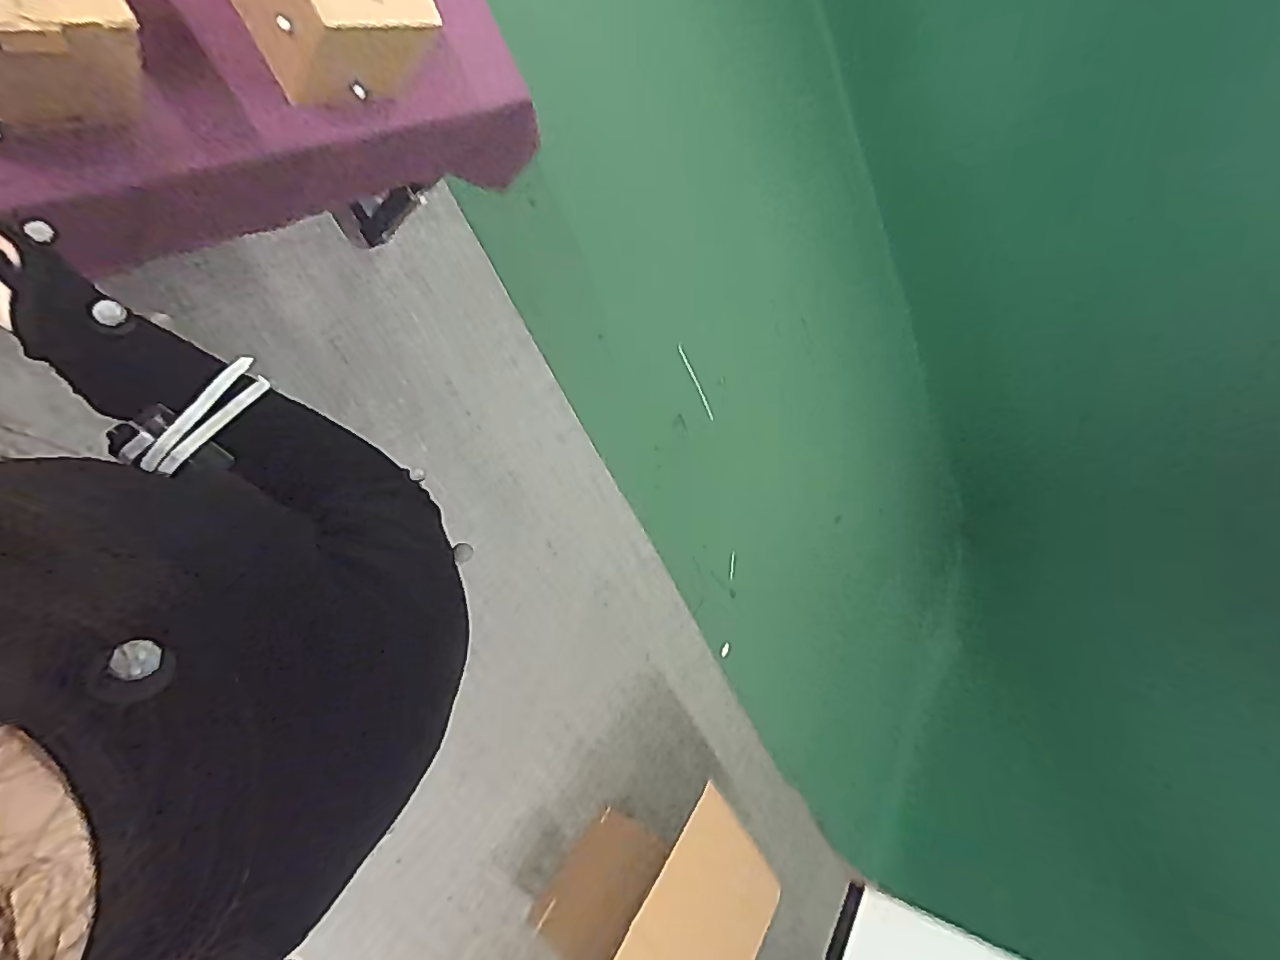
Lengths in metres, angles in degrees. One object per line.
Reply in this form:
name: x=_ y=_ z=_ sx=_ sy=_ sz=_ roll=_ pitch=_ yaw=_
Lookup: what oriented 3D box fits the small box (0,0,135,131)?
small box: x=-0.603 y=-0.445 z=0.485 sx=0.168 sy=0.176 sz=0.179 roll=-42 pitch=113 yaw=-36
